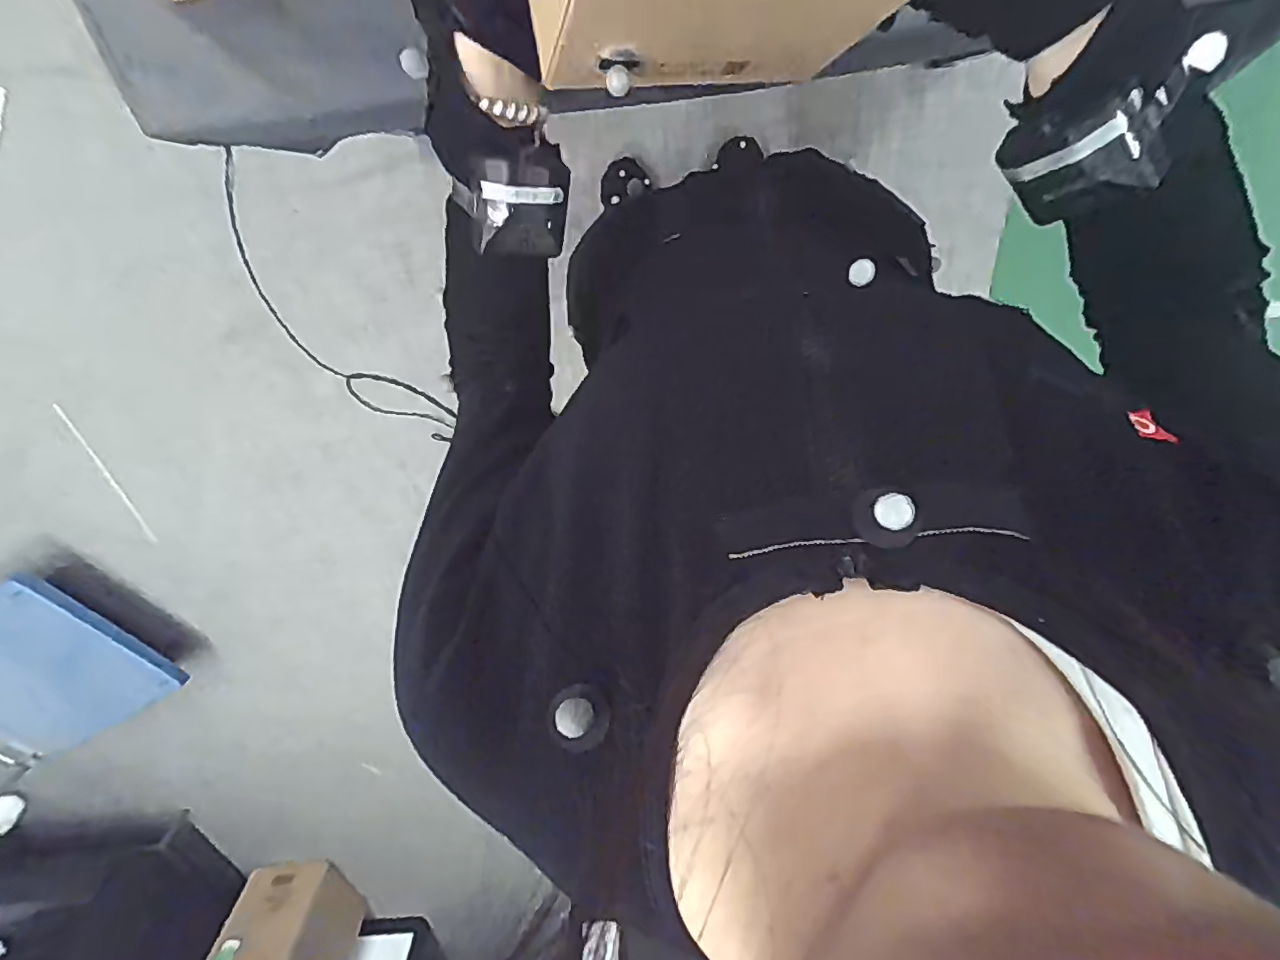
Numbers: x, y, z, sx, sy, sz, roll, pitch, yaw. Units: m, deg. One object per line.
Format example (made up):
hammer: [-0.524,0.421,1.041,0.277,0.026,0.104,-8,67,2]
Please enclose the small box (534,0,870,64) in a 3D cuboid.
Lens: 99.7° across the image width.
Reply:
small box: [0.037,-0.295,0.208,0.168,0.176,0.179,-12,106,-14]
